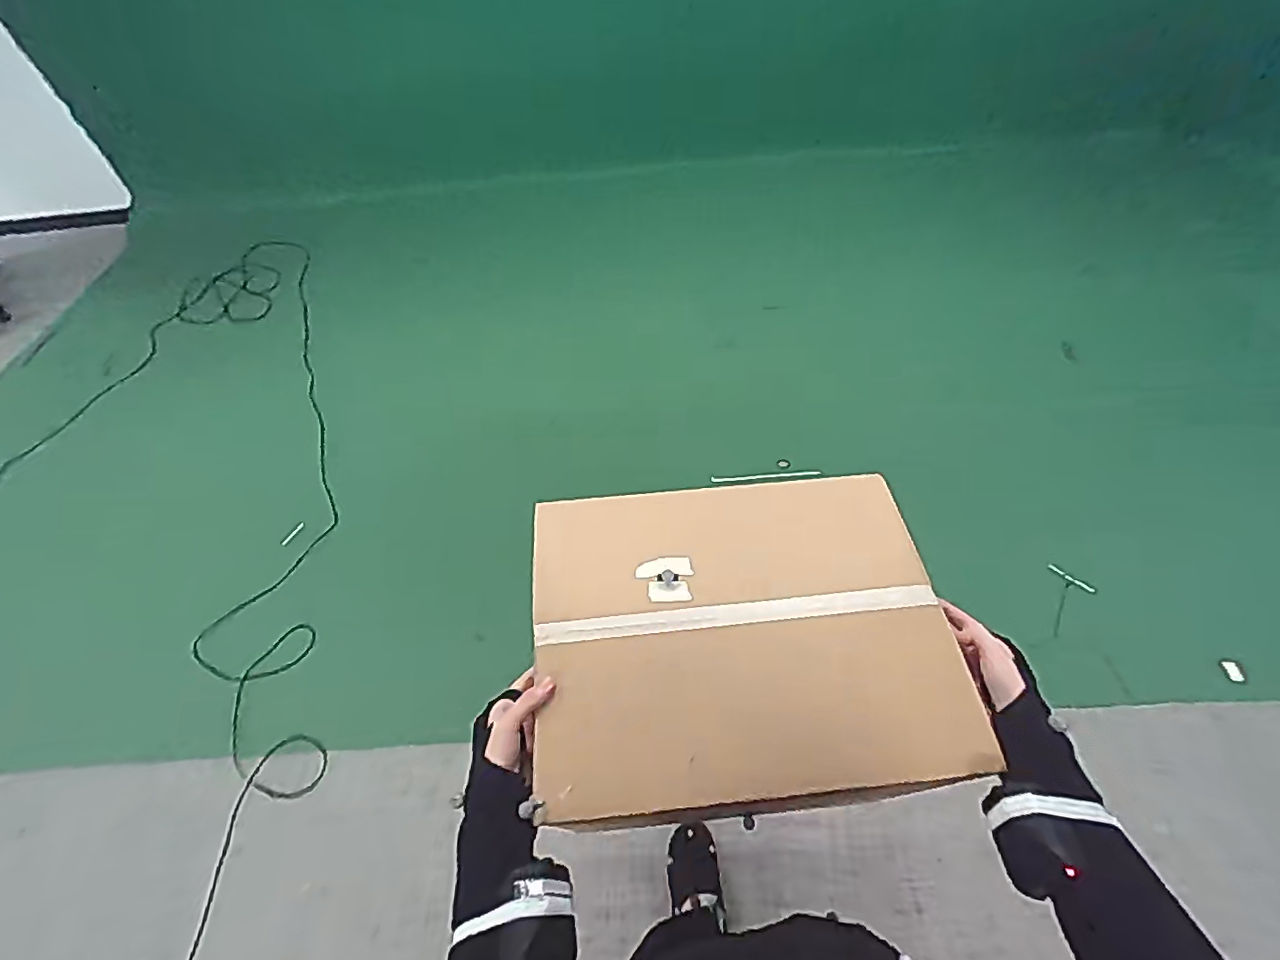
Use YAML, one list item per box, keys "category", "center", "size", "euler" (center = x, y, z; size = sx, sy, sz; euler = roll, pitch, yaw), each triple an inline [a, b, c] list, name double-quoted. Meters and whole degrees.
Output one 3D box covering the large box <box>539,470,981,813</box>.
- category: "large box"
  center: [0.101, 0.216, 0.680]
  size: [0.408, 0.320, 0.320]
  euler: [-5, 56, -2]
